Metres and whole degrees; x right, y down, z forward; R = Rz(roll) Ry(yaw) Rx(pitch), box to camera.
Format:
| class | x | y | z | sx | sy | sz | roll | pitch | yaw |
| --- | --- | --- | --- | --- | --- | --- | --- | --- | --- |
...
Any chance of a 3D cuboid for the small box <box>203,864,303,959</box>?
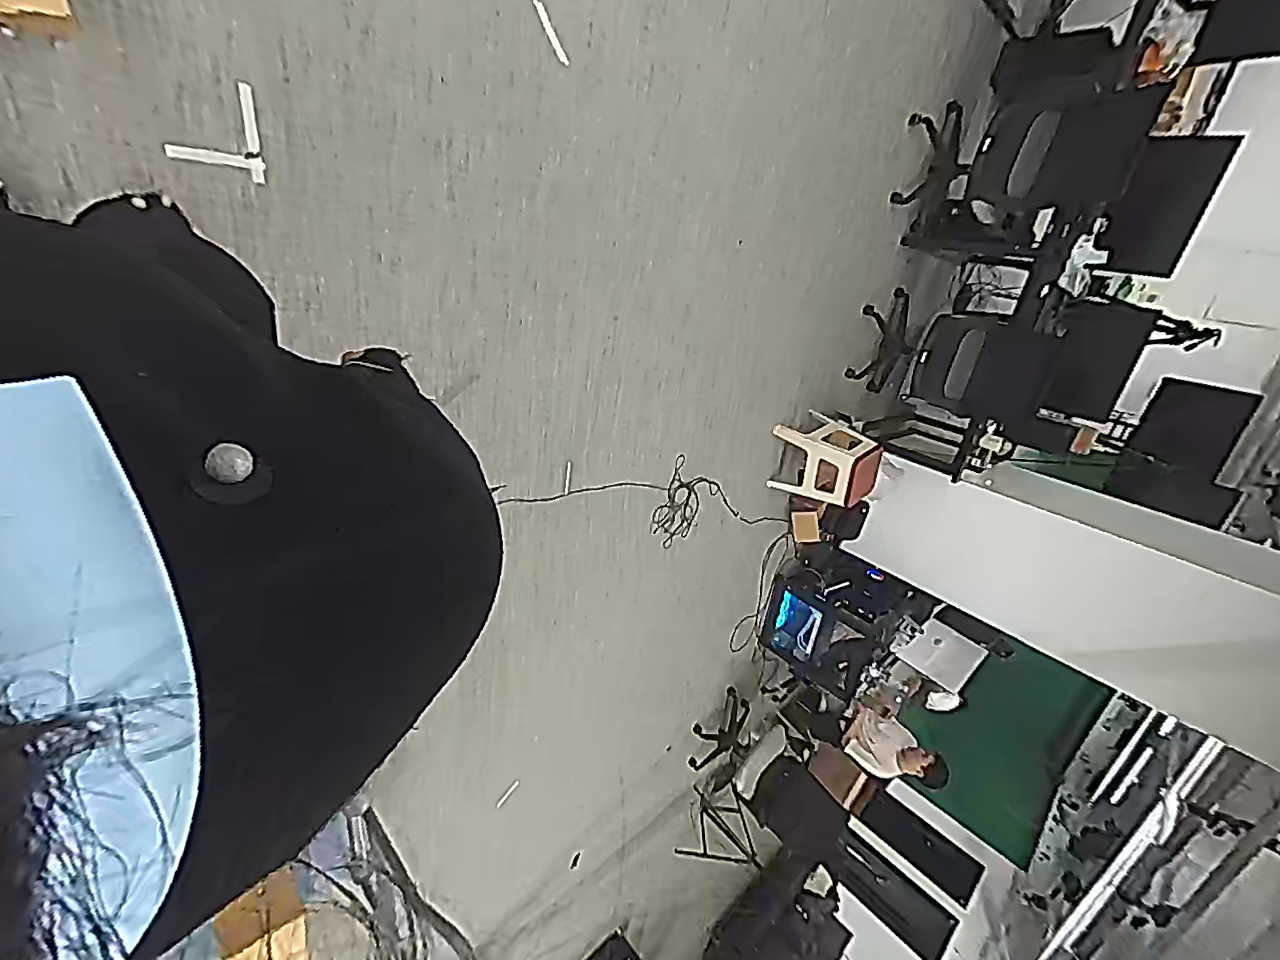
| class | x | y | z | sx | sy | sz | roll | pitch | yaw |
| --- | --- | --- | --- | --- | --- | --- | --- | --- | --- |
| small box | -0.942 | 1.100 | 1.319 | 0.168 | 0.176 | 0.179 | -13 | 120 | -43 |

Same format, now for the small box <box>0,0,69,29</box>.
| class | x | y | z | sx | sy | sz | roll | pitch | yaw |
| --- | --- | --- | --- | --- | --- | --- | --- | --- | --- |
| small box | -0.951 | -0.762 | 0.751 | 0.168 | 0.176 | 0.179 | -25 | 129 | -35 |
